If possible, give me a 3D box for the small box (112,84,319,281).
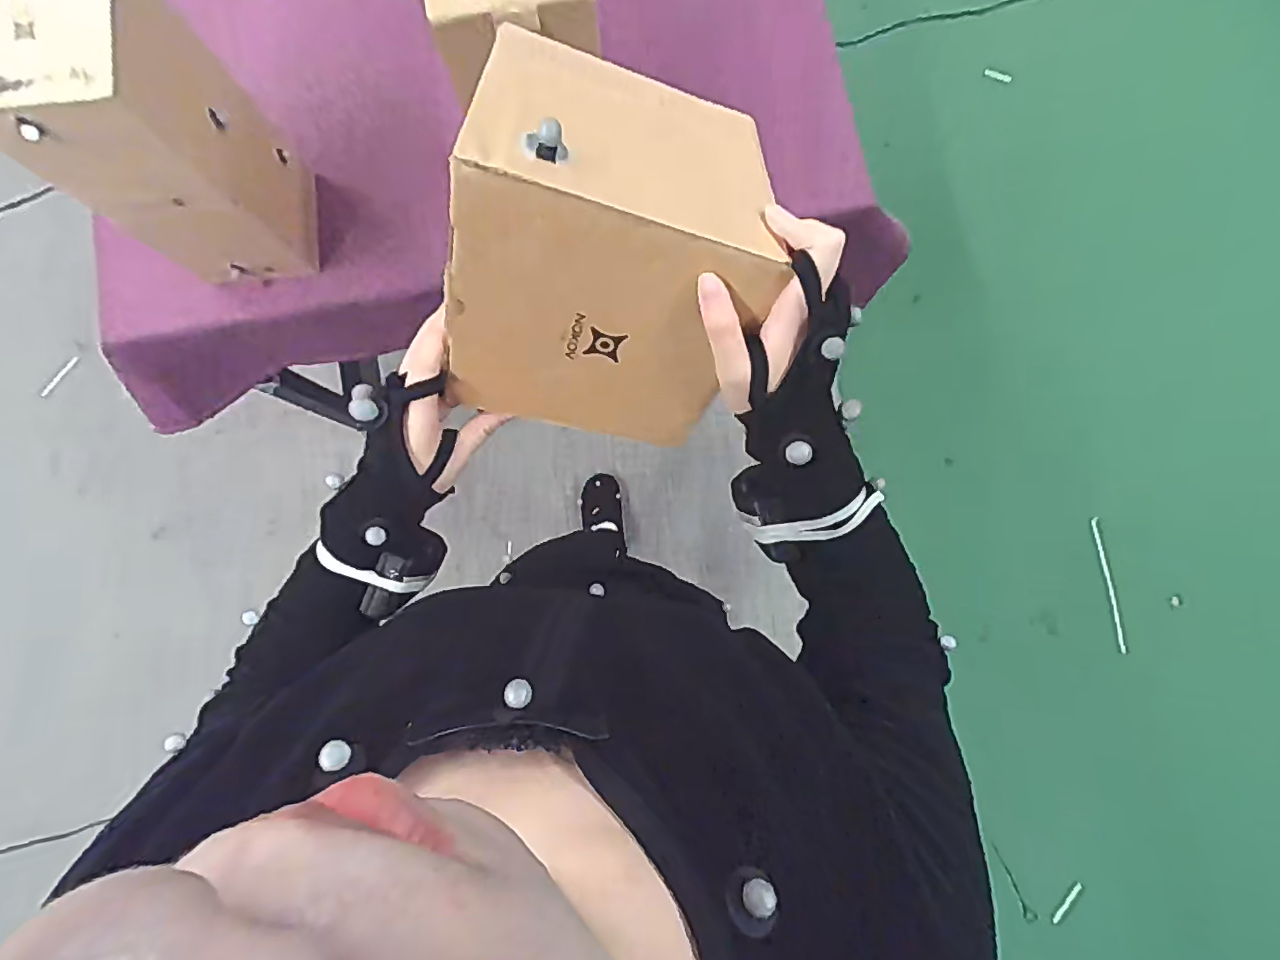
[{"bbox_3d":[-0.579,-0.405,0.760,0.168,0.176,0.179,-6,84,-1],"label":"small box"}]

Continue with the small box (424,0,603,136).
[{"bbox_3d":[-0.140,-0.525,0.613,0.168,0.176,0.179,-11,82,-2],"label":"small box"}]

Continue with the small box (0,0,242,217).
[{"bbox_3d":[-0.579,-0.425,0.596,0.168,0.176,0.179,-6,82,0],"label":"small box"}]
